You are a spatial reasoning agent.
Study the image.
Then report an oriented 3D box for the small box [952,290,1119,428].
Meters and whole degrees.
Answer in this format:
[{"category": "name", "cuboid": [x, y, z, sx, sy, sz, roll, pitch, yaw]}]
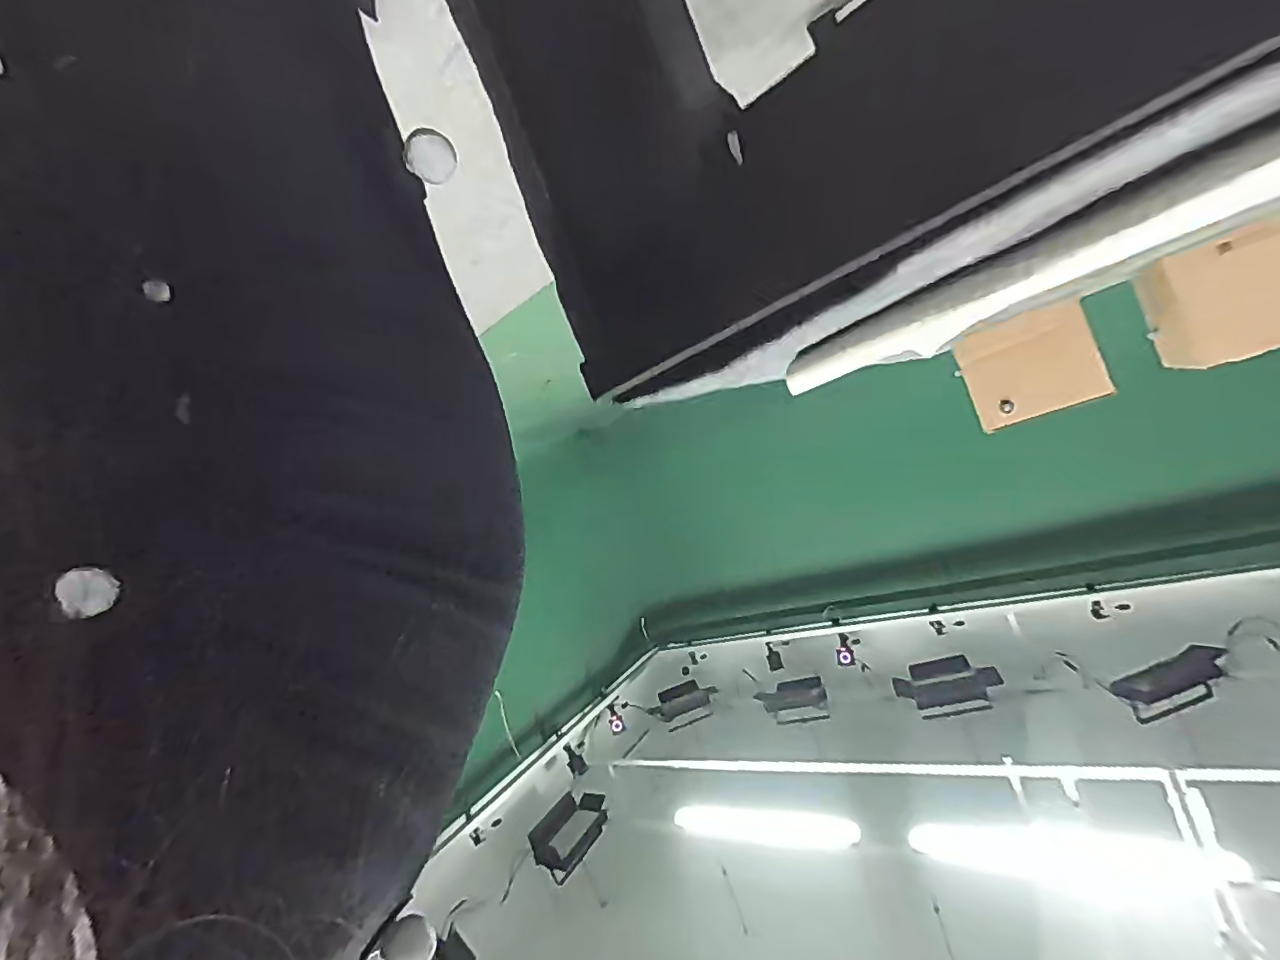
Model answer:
[{"category": "small box", "cuboid": [0.658, -0.204, 0.920, 0.179, 0.176, 0.168, -21, 180, 32]}]
